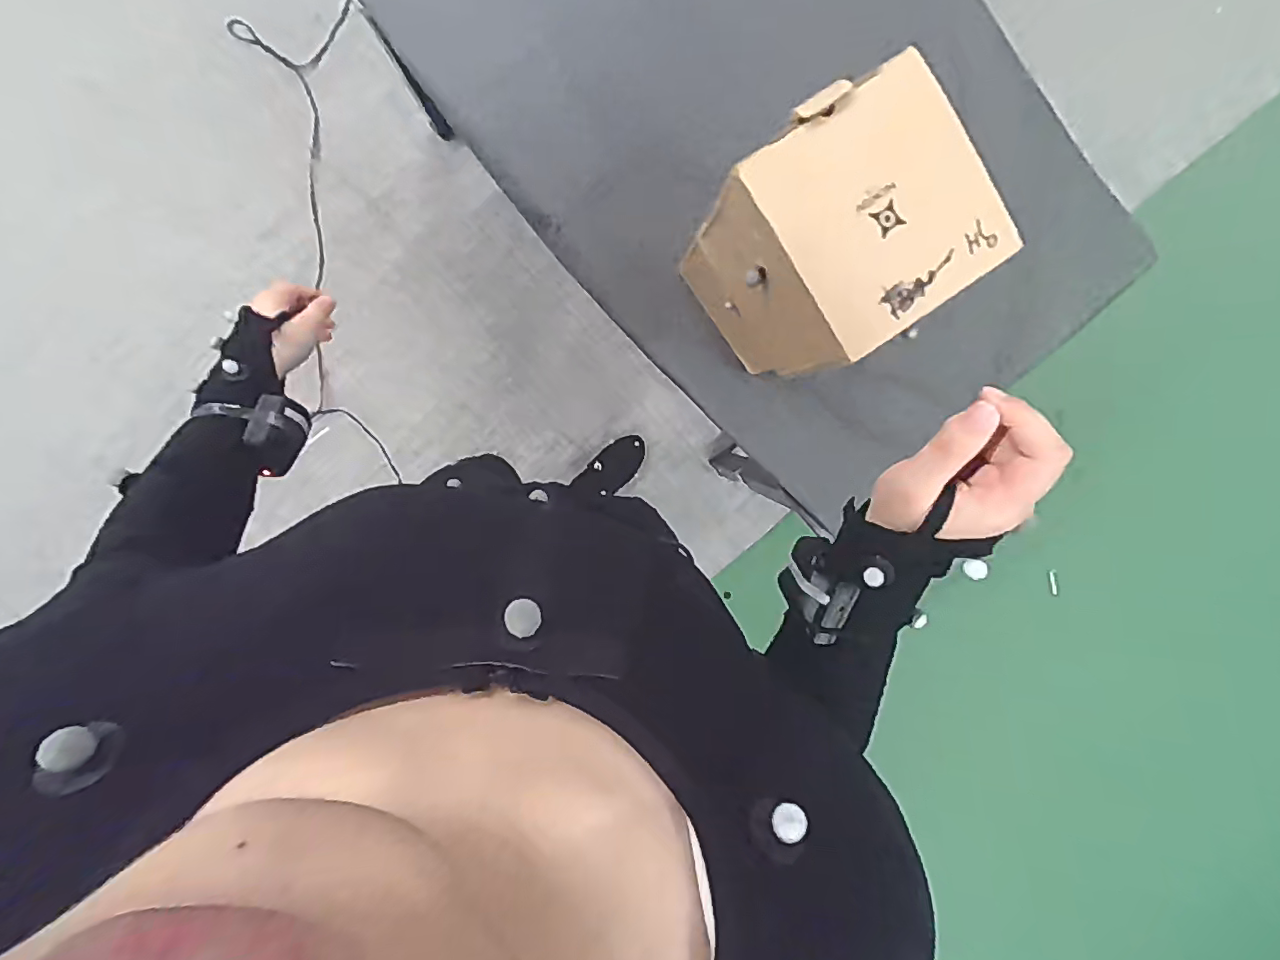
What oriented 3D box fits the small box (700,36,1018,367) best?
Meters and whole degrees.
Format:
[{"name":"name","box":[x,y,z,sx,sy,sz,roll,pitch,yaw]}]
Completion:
[{"name":"small box","box":[0.173,-0.221,0.486,0.168,0.176,0.179,-34,97,0]}]

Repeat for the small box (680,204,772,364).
[{"name":"small box","box":[0.166,-0.258,0.647,0.168,0.176,0.179,-37,98,1]}]
